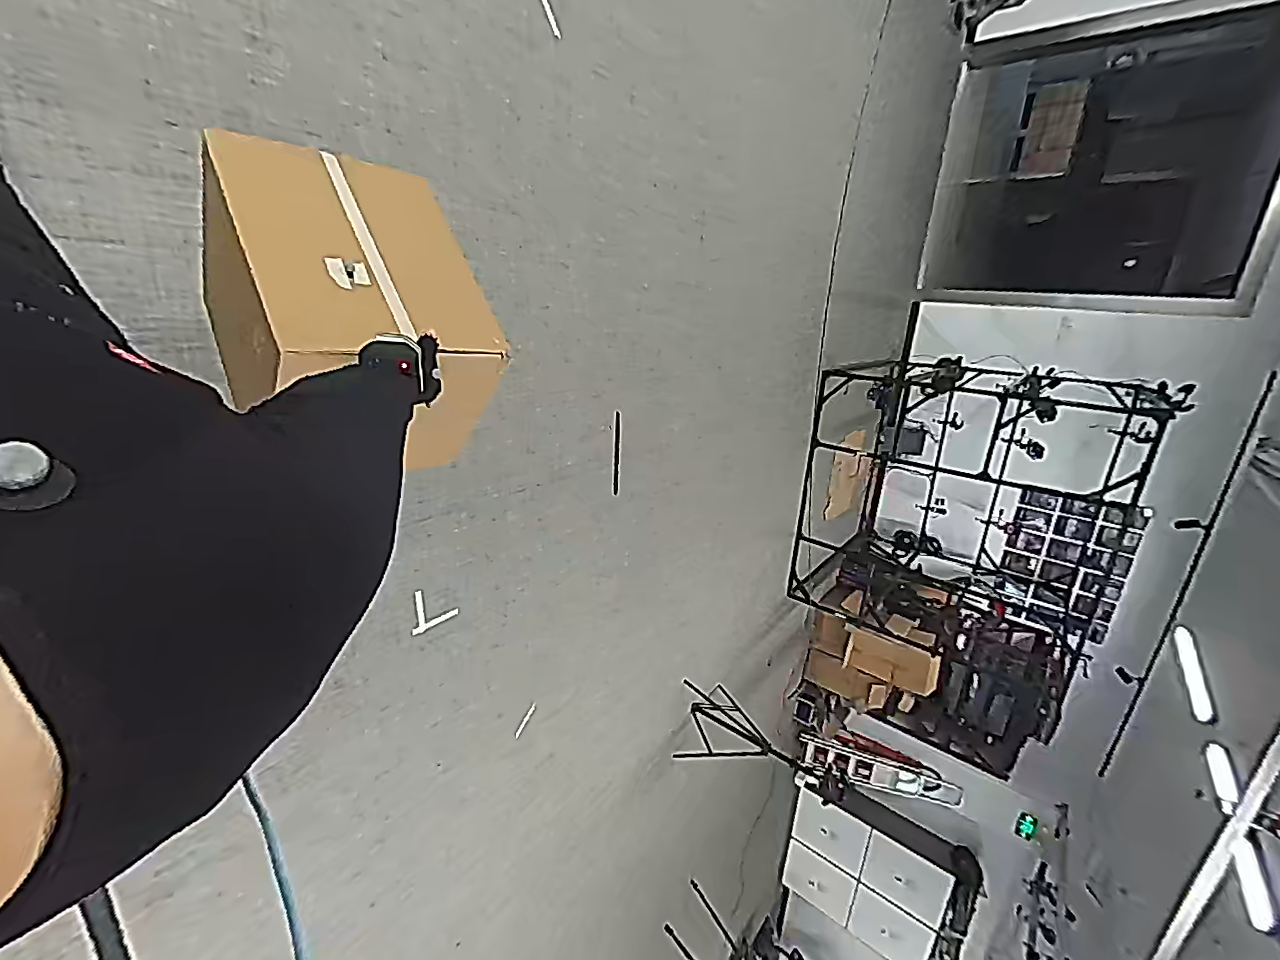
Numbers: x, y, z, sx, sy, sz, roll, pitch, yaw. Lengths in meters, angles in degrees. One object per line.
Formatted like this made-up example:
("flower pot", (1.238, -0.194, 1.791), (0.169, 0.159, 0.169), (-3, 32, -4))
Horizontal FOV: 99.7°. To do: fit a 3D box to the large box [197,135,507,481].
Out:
("large box", (-0.492, -0.261, 0.901), (0.320, 0.408, 0.320), (-12, 157, -45))
